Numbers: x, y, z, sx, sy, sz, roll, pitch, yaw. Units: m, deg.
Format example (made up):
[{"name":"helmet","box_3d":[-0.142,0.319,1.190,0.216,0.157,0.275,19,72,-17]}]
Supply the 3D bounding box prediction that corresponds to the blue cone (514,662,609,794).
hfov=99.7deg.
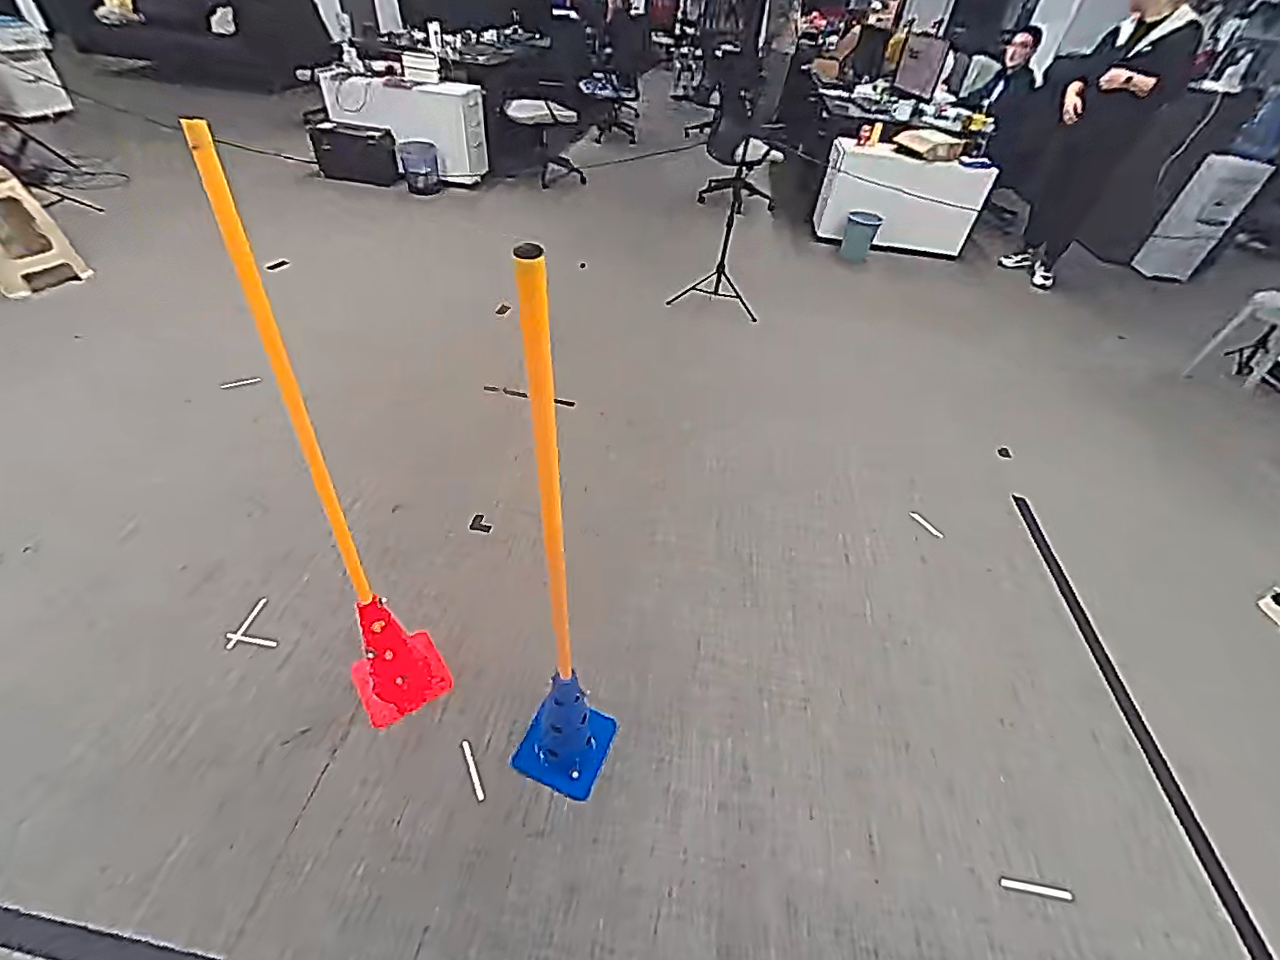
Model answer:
[{"name":"blue cone","box_3d":[-0.171,0.507,1.176,0.192,0.380,0.193,20,45,14]}]

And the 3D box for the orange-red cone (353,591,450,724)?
[{"name":"orange-red cone","box_3d":[-0.588,0.371,1.246,0.198,0.360,0.199,-24,53,-28]}]
